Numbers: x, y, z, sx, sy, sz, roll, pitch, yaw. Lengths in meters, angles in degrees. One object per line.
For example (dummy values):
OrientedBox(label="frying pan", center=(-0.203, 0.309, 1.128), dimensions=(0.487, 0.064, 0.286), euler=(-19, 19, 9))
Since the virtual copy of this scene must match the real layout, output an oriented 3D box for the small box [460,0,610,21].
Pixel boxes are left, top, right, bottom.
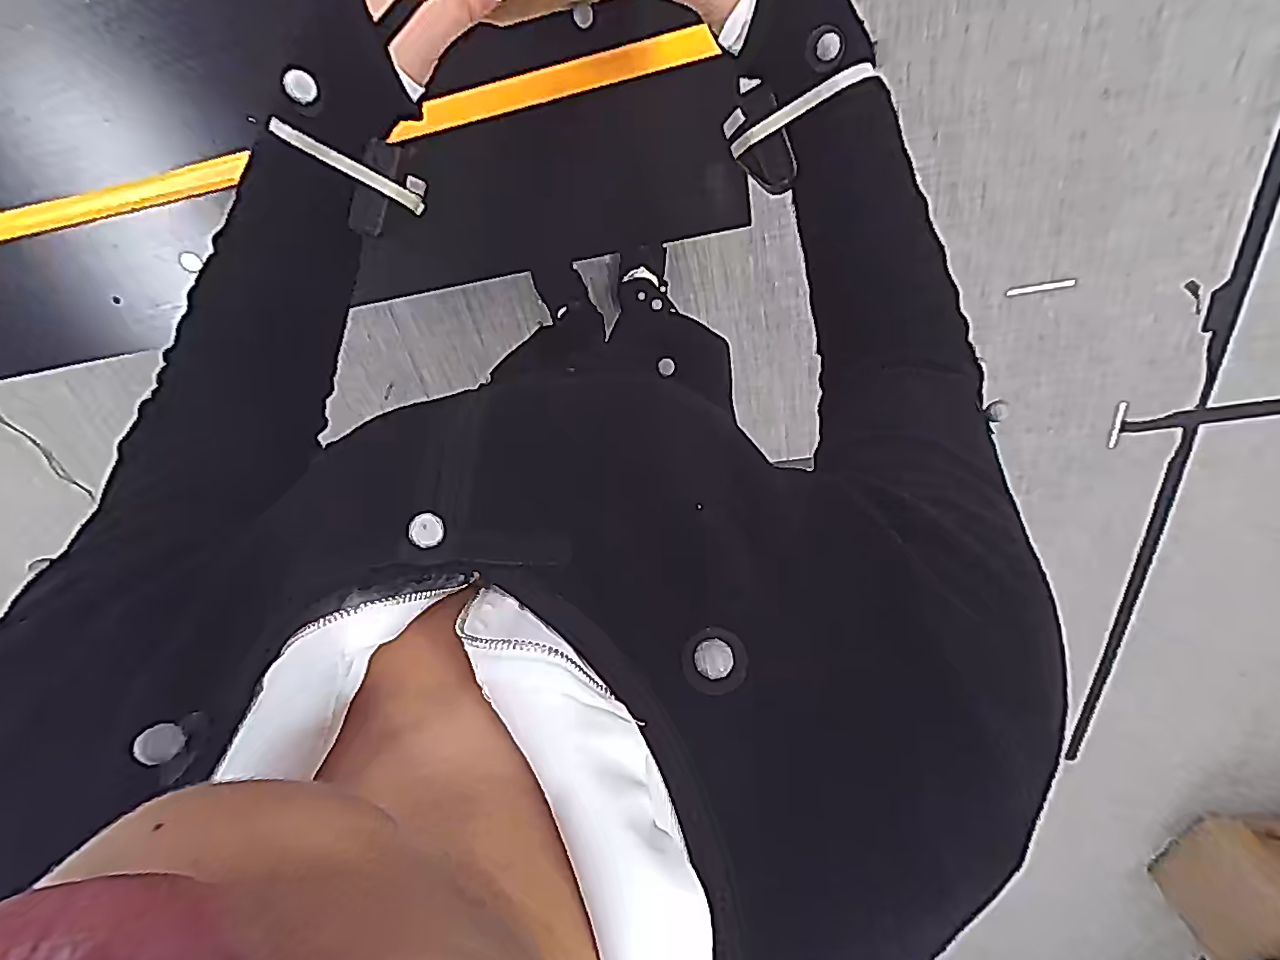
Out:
OrientedBox(label="small box", center=(-0.053, -0.427, 0.345), dimensions=(0.168, 0.176, 0.179), euler=(-8, 127, 7))
